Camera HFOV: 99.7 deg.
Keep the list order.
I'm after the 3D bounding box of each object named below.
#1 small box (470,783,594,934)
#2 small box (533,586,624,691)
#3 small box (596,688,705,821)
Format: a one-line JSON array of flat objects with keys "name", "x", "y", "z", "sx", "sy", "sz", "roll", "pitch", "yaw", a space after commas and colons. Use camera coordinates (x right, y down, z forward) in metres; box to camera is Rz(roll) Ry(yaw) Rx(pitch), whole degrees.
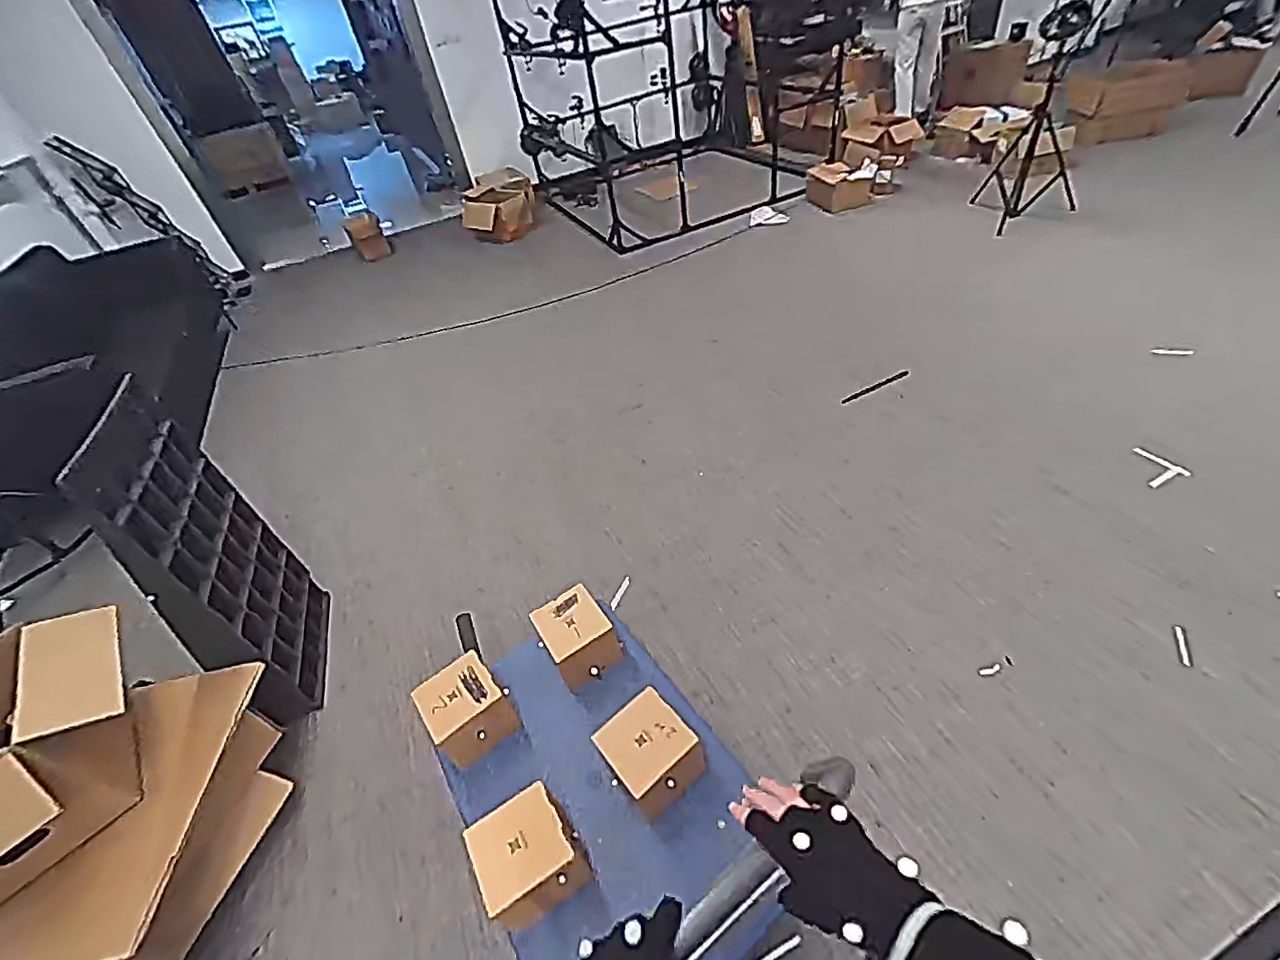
[{"name": "small box", "x": -0.214, "y": 0.767, "z": 1.095, "sx": 0.179, "sy": 0.176, "sz": 0.168, "roll": -28, "pitch": 44, "yaw": -19}, {"name": "small box", "x": -0.162, "y": 0.426, "z": 1.448, "sx": 0.168, "sy": 0.176, "sz": 0.179, "roll": -30, "pitch": 47, "yaw": -19}, {"name": "small box", "x": 0.031, "y": 0.614, "z": 1.204, "sx": 0.179, "sy": 0.176, "sz": 0.168, "roll": -34, "pitch": 47, "yaw": -22}]
